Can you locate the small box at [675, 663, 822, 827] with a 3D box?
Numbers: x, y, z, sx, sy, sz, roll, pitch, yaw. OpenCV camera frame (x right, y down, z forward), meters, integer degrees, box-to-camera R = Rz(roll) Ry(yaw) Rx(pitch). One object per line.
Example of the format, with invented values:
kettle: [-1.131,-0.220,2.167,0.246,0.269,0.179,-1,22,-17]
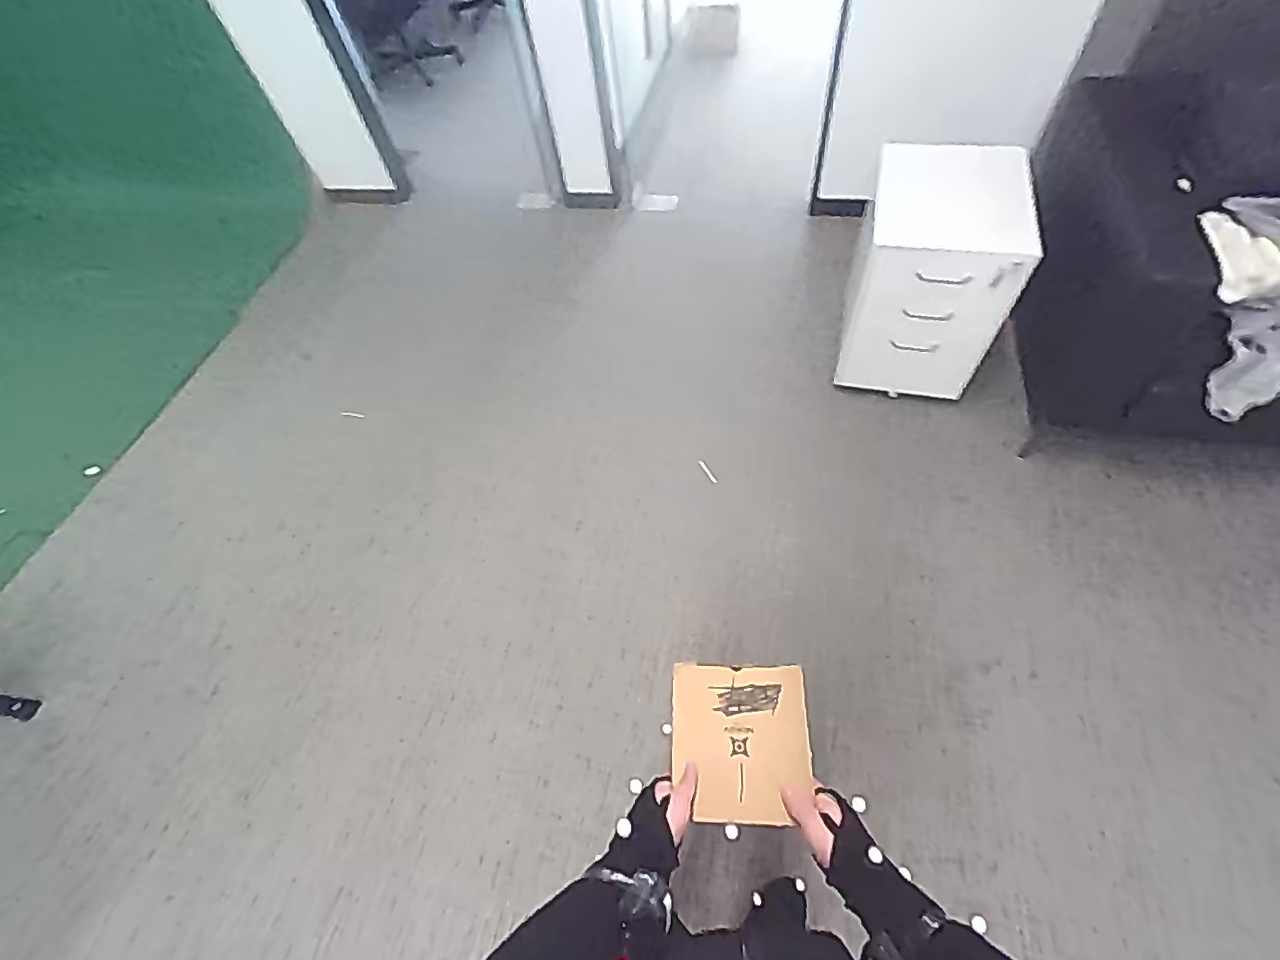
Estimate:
small box: [0.130,0.353,0.717,0.168,0.176,0.179,-1,58,5]
